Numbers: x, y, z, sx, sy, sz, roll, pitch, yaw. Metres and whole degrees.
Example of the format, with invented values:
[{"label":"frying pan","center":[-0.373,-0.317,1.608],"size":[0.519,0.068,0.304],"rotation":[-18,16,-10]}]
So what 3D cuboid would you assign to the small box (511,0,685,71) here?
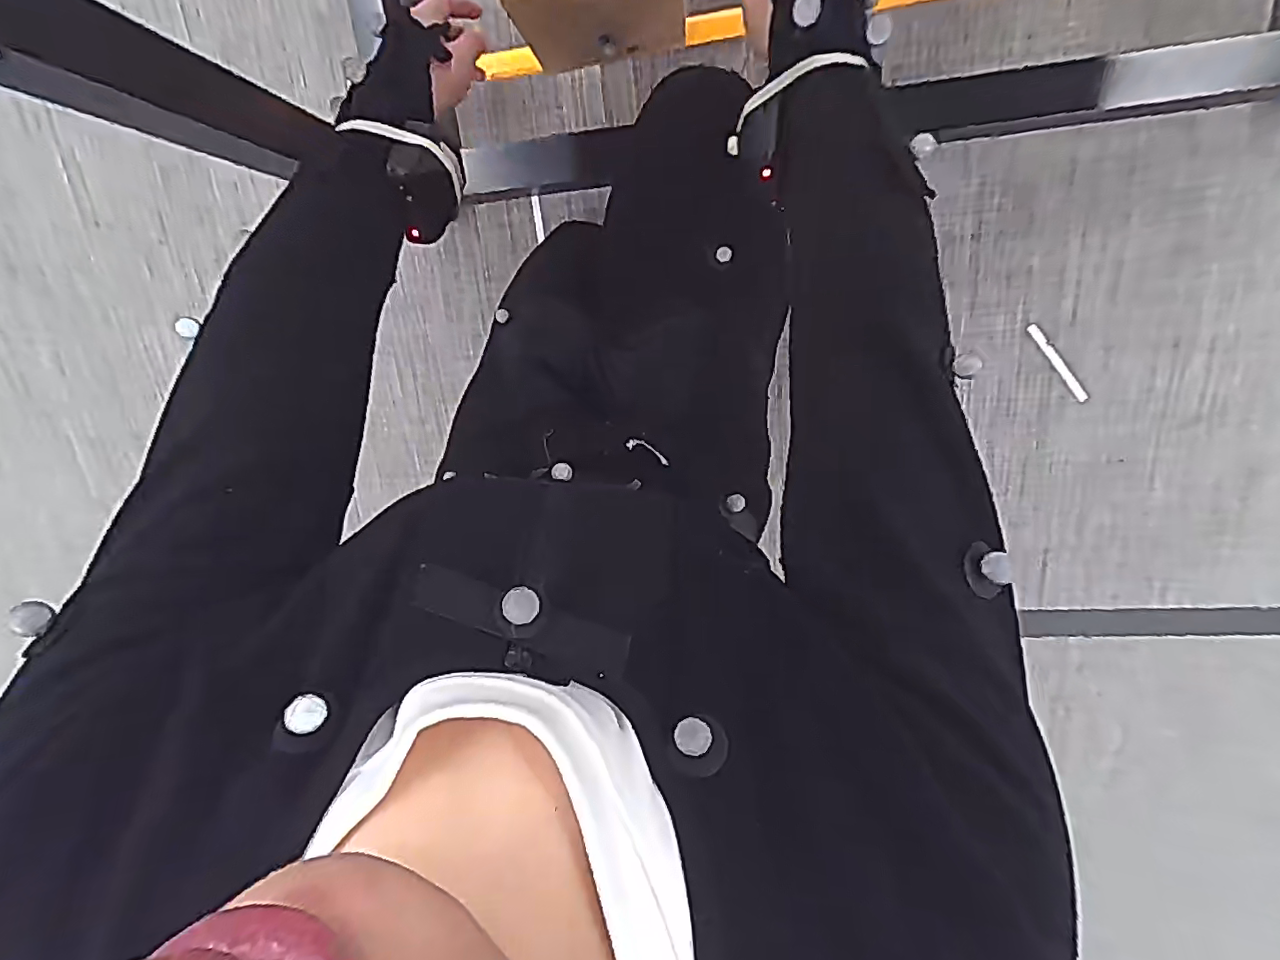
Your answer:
[{"label":"small box","center":[-0.048,-0.534,0.511],"size":[0.168,0.176,0.179],"rotation":[-7,107,8]}]
